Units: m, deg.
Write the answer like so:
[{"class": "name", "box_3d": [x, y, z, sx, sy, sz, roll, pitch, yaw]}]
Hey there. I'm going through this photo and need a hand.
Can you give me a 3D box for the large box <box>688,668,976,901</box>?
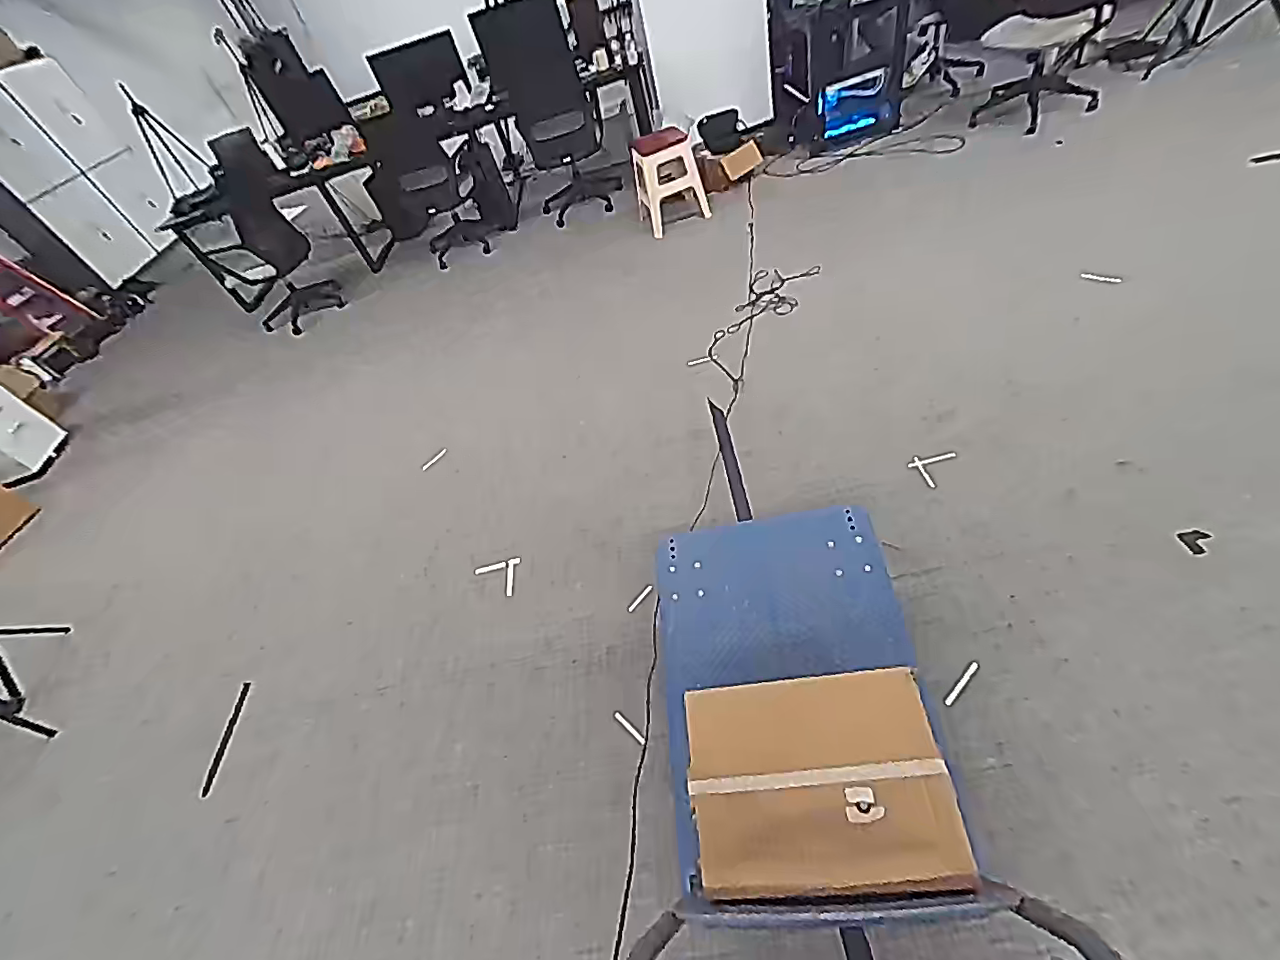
[{"class": "large box", "box_3d": [0.325, 0.578, 1.023, 0.408, 0.320, 0.320, -11, 56, 9]}]
